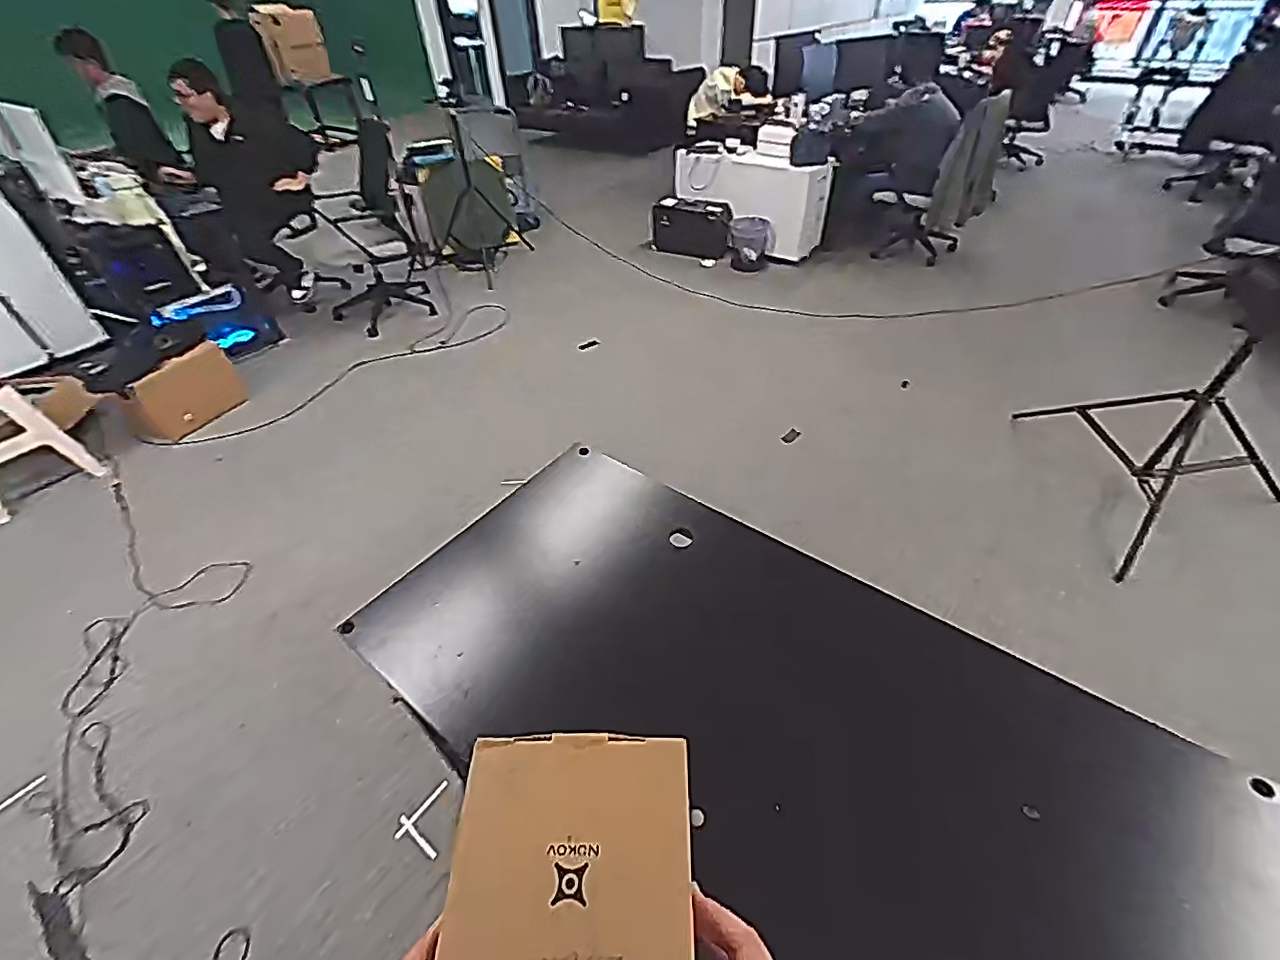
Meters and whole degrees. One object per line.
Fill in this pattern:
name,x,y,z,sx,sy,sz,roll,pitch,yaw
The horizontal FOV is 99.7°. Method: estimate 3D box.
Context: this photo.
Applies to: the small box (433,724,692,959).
small box,-0.046,0.312,0.434,0.168,0.176,0.179,-1,52,2
